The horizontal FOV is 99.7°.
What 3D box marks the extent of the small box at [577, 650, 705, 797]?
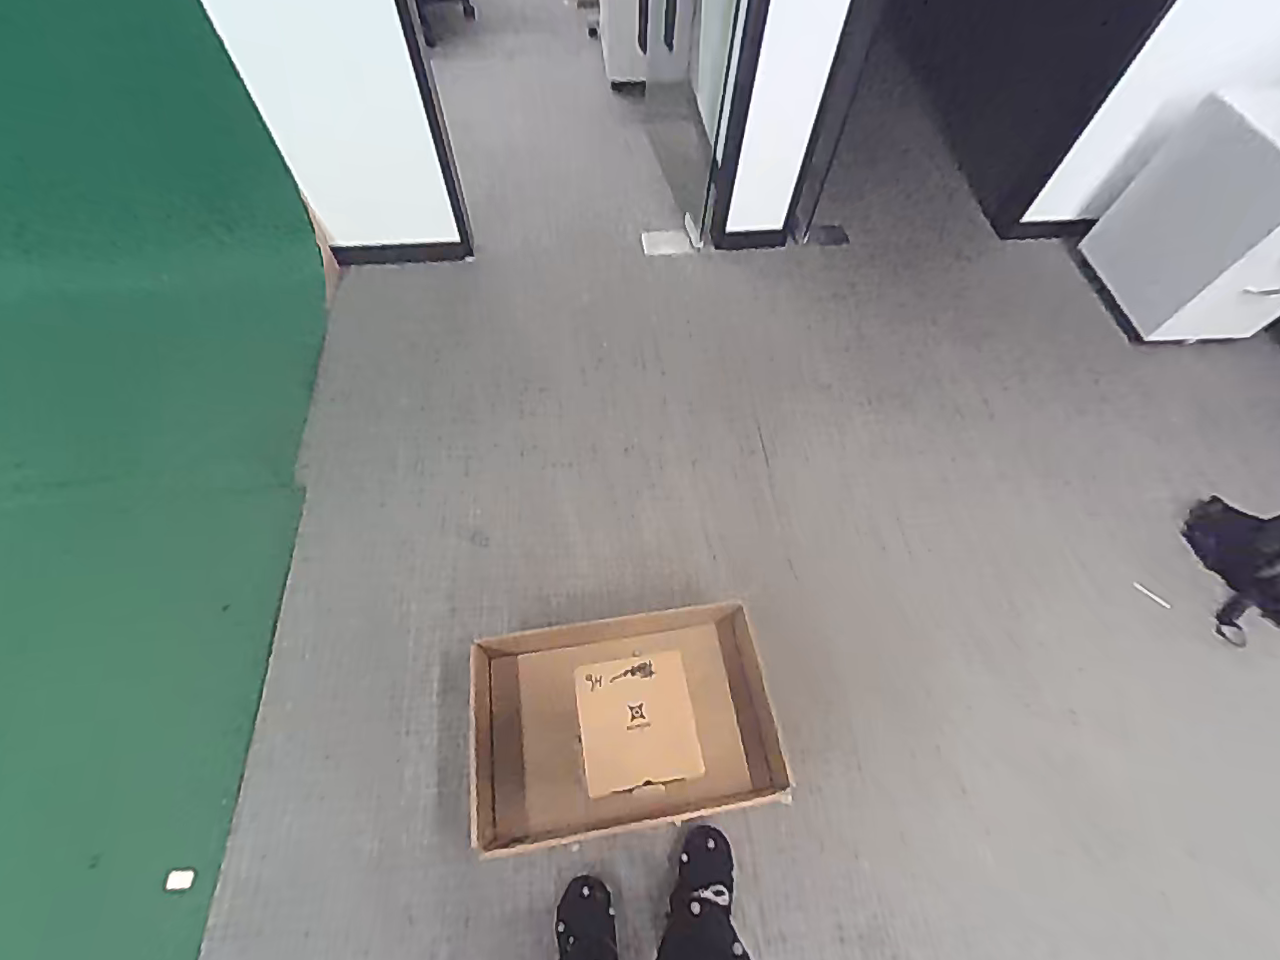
[{"bbox_3d":[-0.004,0.385,0.855,0.168,0.176,0.179,-7,61,-8],"label":"small box"}]
